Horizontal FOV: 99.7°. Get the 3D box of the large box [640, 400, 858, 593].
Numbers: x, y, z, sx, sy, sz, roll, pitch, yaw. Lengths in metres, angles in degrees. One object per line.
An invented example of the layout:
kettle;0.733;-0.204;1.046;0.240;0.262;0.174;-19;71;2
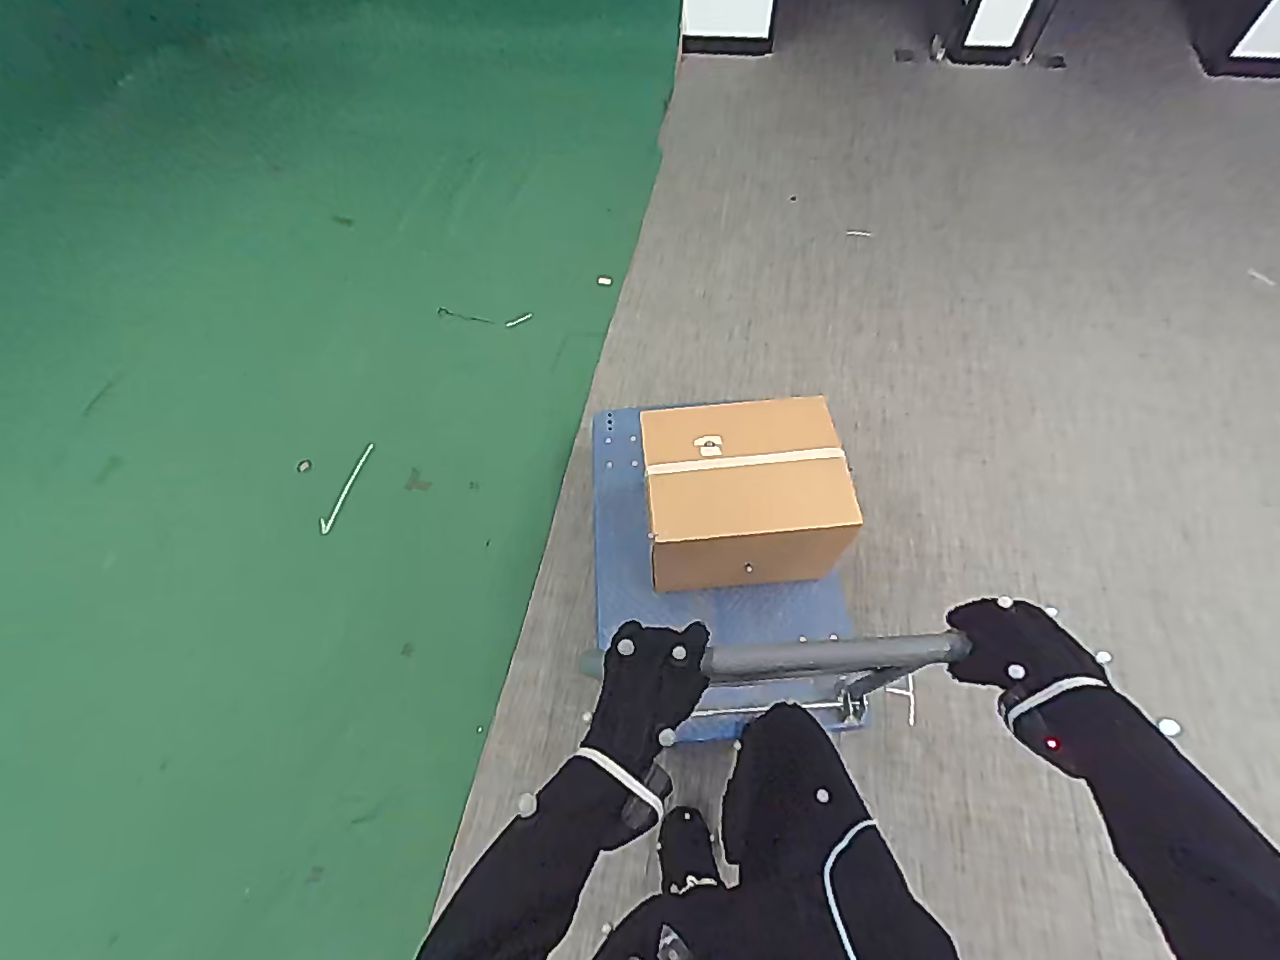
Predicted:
large box;0.221;0.051;1.242;0.408;0.320;0.320;-6;60;1
